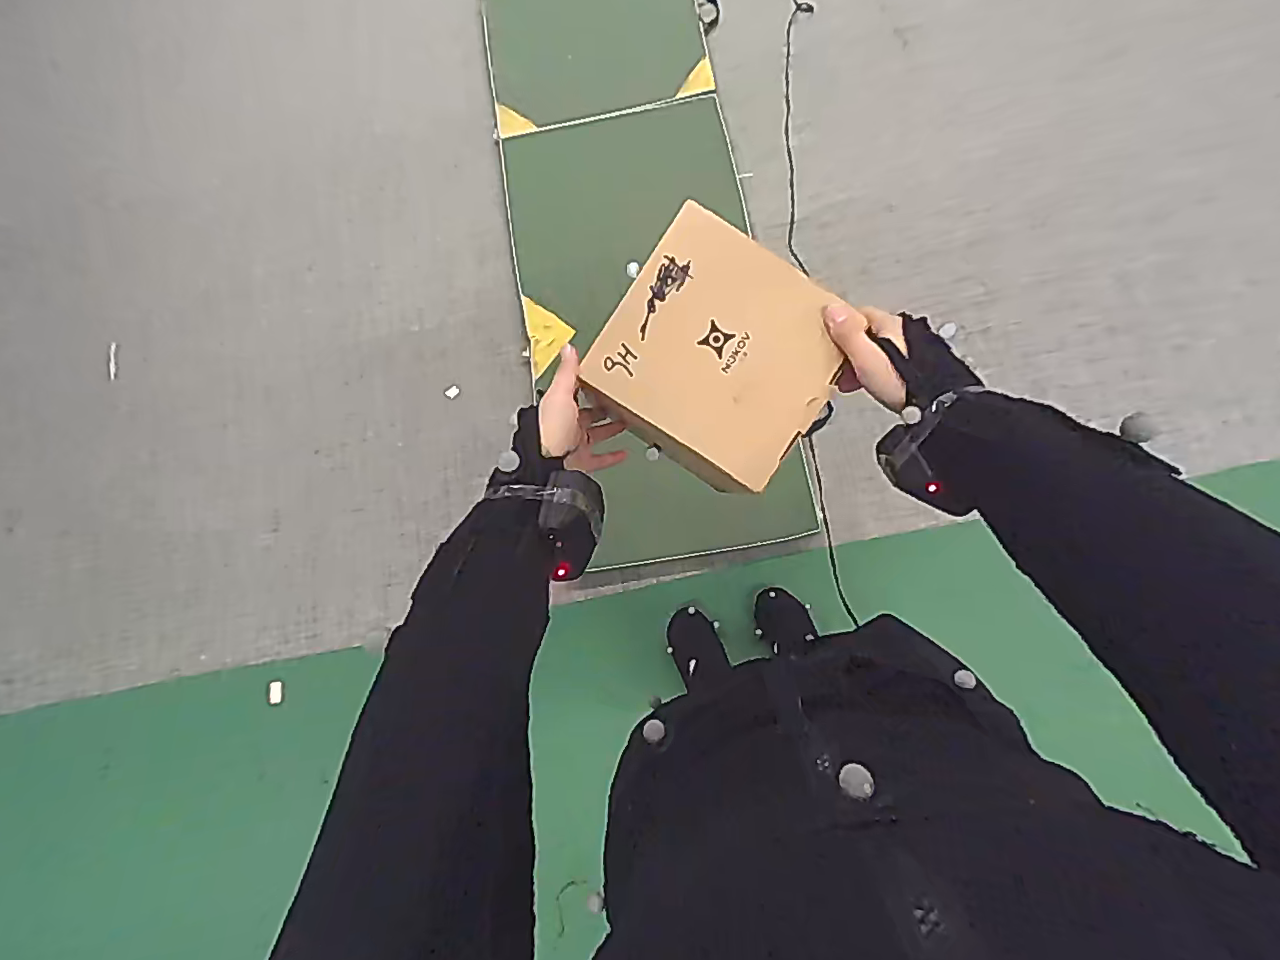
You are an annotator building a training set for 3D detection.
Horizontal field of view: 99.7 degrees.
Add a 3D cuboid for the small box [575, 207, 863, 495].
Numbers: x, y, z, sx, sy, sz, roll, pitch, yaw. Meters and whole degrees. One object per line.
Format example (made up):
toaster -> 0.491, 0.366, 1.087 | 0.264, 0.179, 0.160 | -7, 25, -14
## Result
small box -> 0.060, -0.103, 0.506 | 0.179, 0.176, 0.168 | 34, 88, -2
